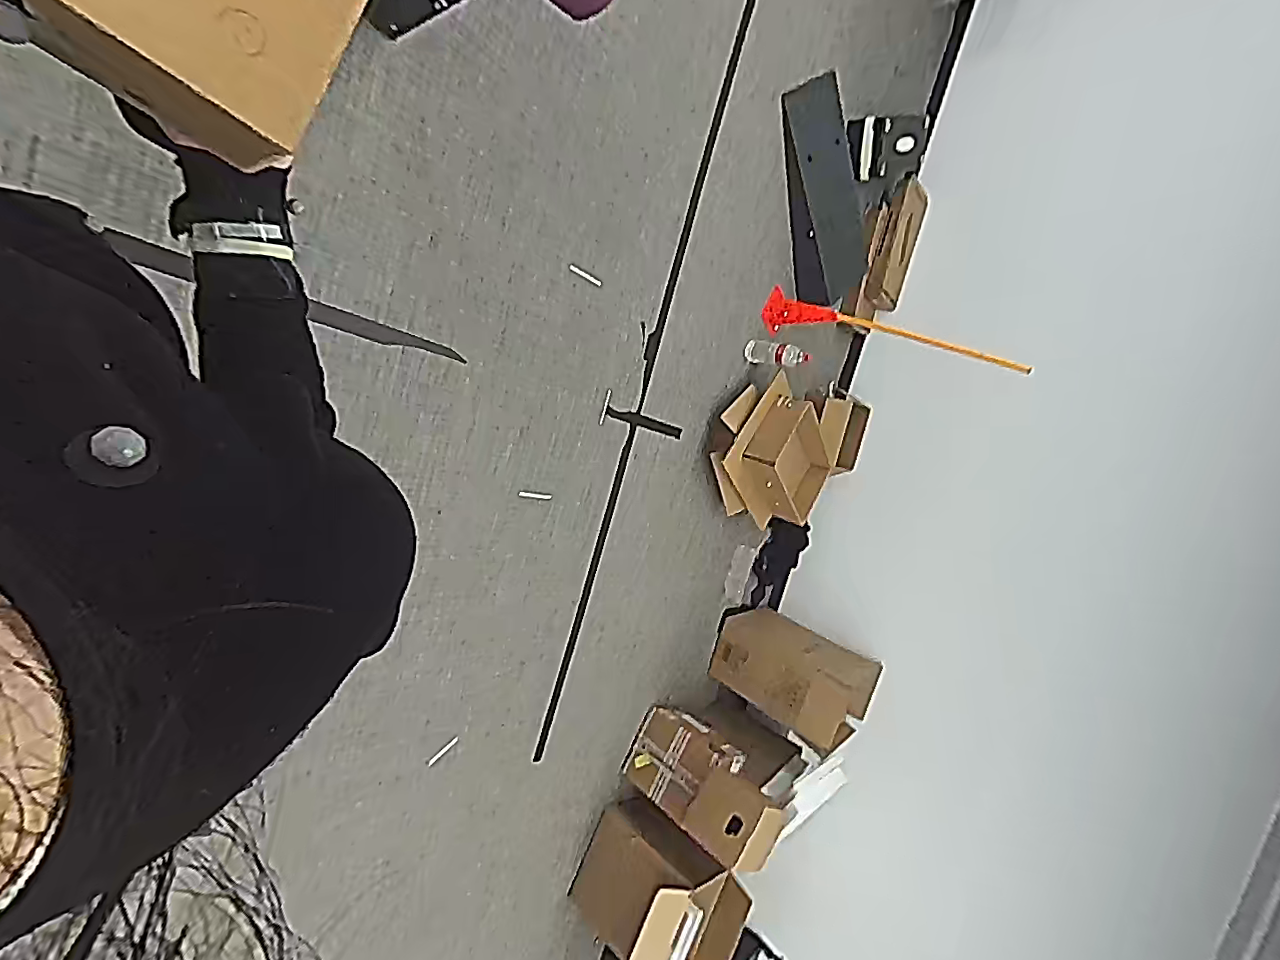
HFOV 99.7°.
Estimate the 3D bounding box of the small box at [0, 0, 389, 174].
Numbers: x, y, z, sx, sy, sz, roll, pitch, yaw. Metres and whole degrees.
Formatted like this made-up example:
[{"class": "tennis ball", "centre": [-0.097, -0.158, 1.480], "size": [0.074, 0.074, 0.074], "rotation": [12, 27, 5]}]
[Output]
[{"class": "small box", "centre": [-0.234, -0.288, 0.276], "size": [0.168, 0.176, 0.179], "rotation": [25, 90, -46]}]
